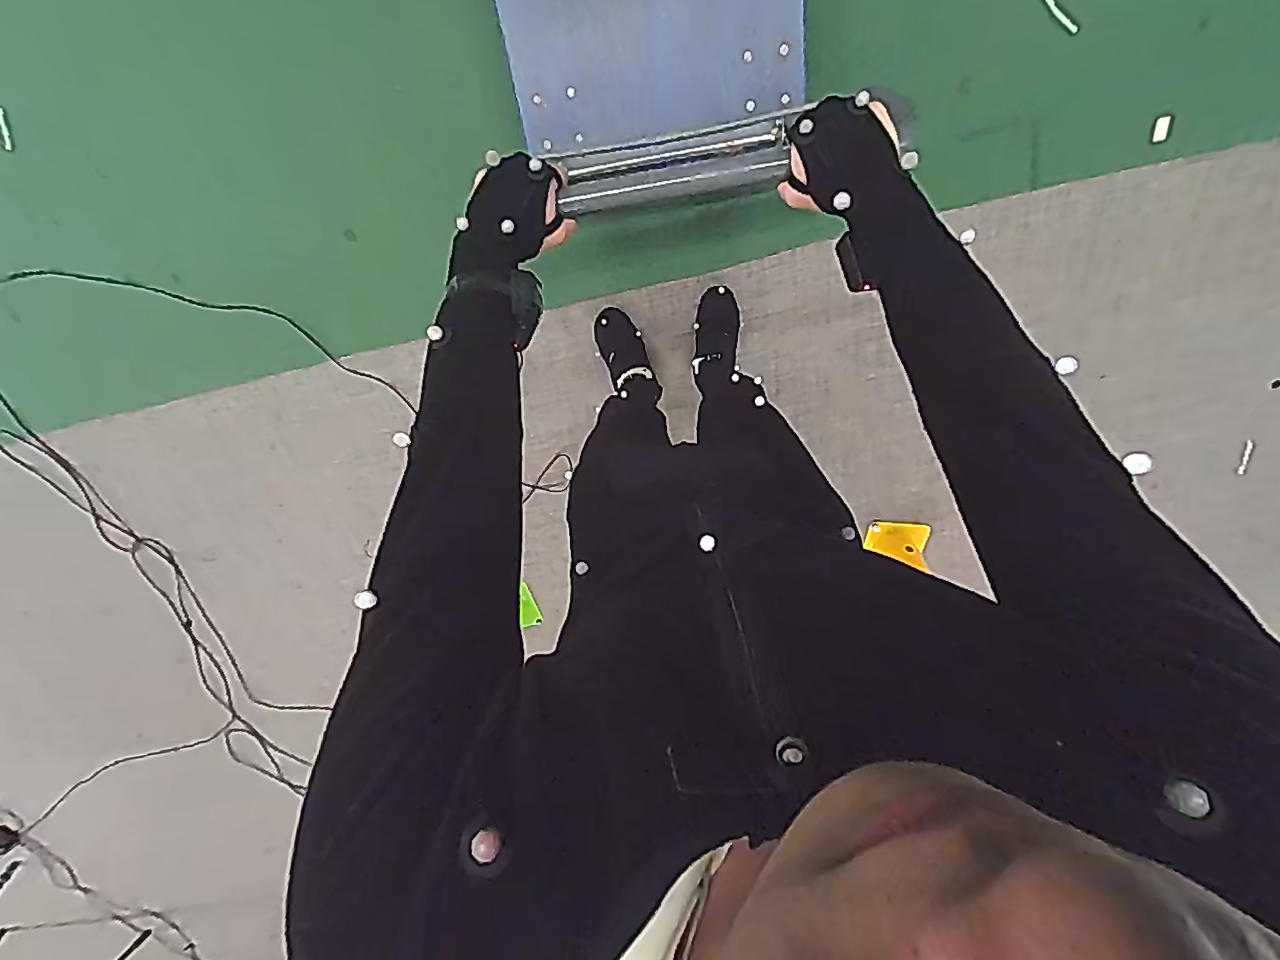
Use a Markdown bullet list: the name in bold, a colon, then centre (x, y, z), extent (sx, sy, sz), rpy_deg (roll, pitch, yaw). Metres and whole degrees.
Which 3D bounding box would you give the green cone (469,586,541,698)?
- **green cone**: centre (-0.477, 0.544, 1.758), extent (0.202, 0.368, 0.200), rpy_deg (-14, 116, 10)
